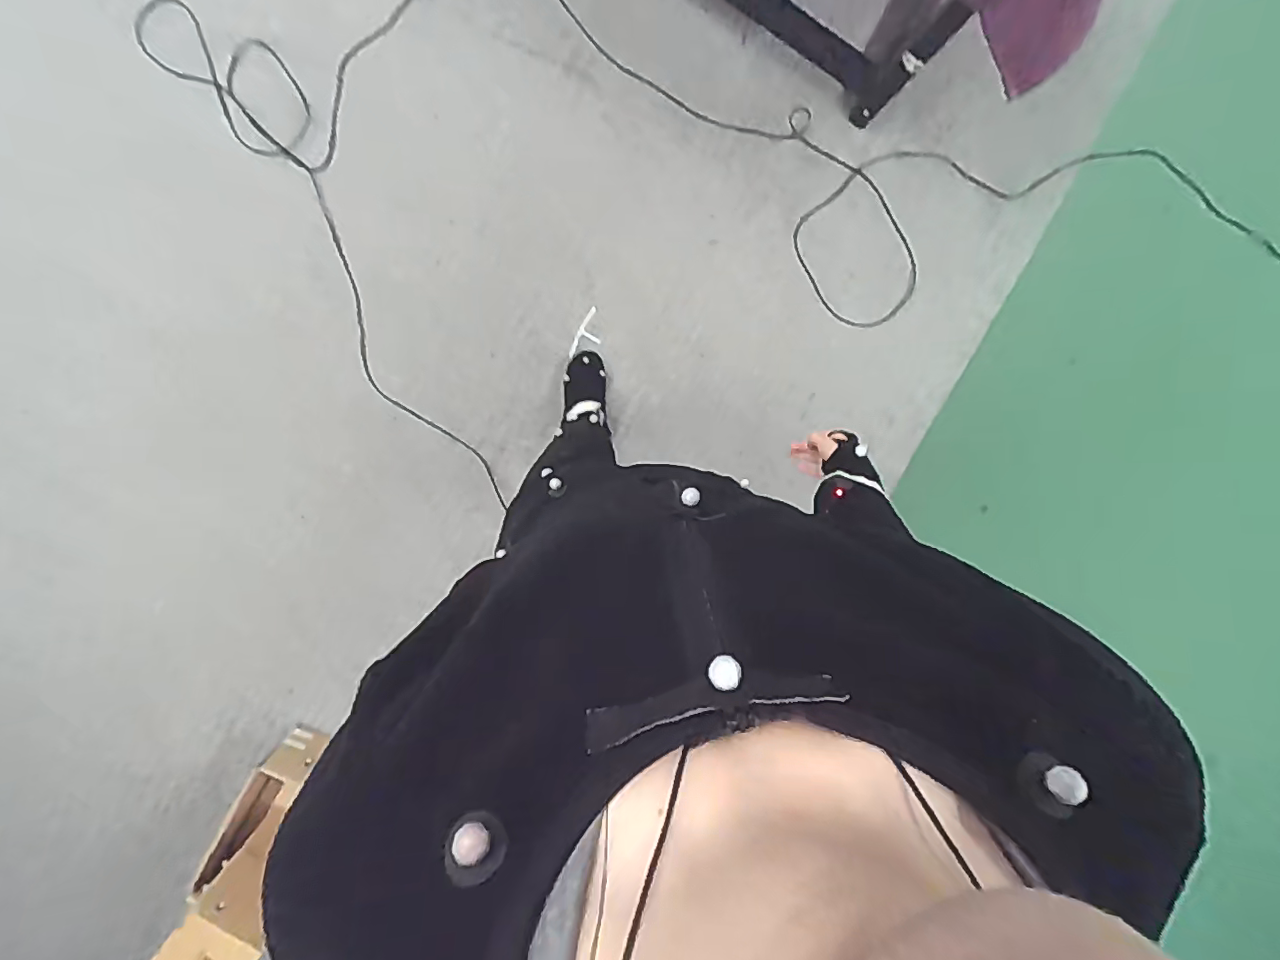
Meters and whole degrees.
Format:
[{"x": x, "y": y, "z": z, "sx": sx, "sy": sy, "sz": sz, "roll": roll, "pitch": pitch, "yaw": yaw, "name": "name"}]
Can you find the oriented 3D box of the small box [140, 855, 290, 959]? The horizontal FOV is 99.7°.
[{"x": -0.945, "y": 1.002, "z": 1.217, "sx": 0.179, "sy": 0.176, "sz": 0.168, "roll": 41, "pitch": 90, "yaw": -8, "name": "small box"}]
